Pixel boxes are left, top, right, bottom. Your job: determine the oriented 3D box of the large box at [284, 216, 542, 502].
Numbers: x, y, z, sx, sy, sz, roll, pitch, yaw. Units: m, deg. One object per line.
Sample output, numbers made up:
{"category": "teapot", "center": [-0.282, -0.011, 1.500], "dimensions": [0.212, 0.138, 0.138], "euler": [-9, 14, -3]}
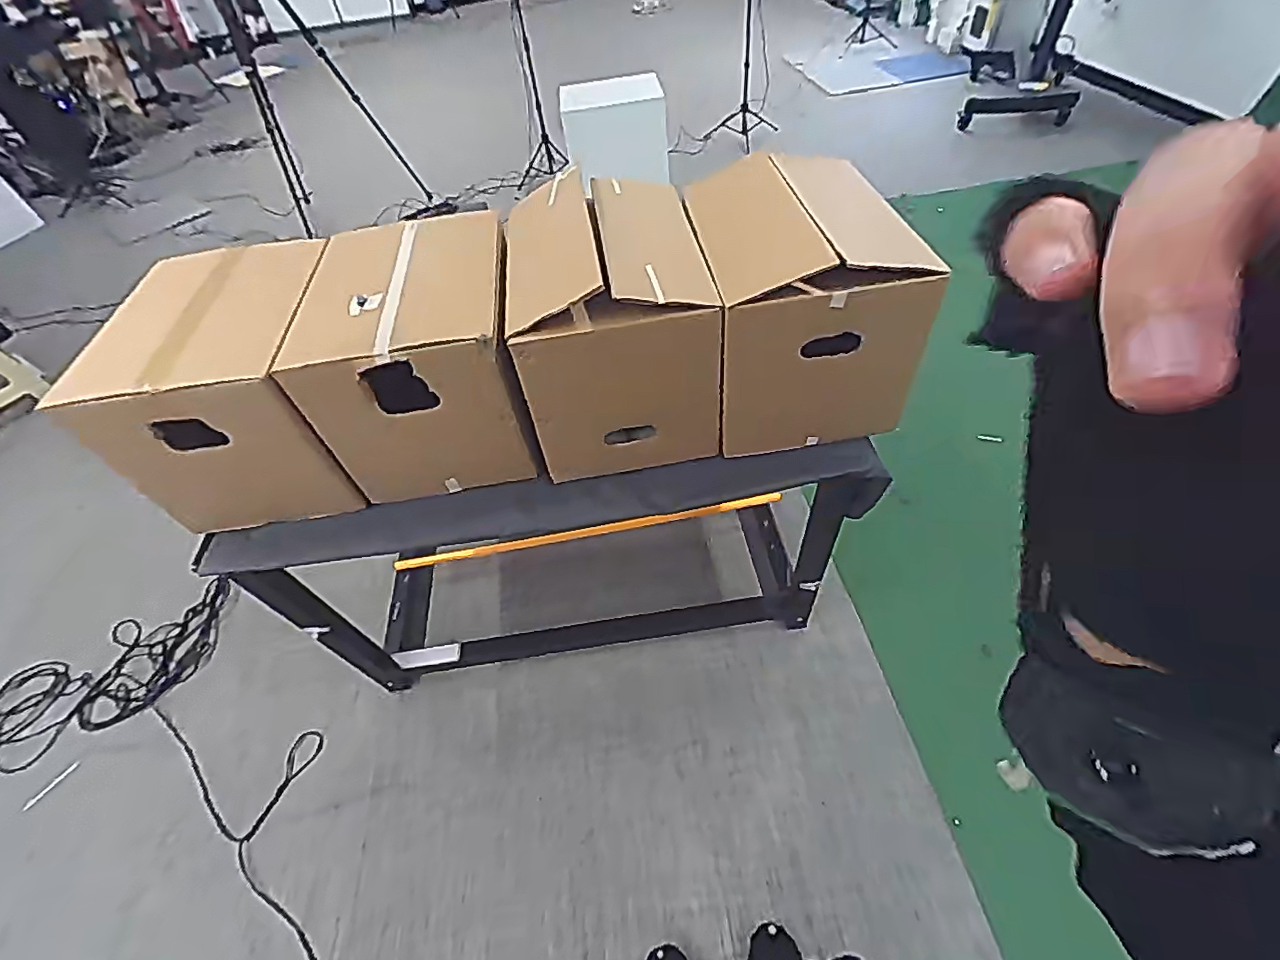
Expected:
{"category": "large box", "center": [-0.370, -0.225, 0.997], "dimensions": [0.320, 0.320, 0.408], "euler": [-10, 51, -1]}
